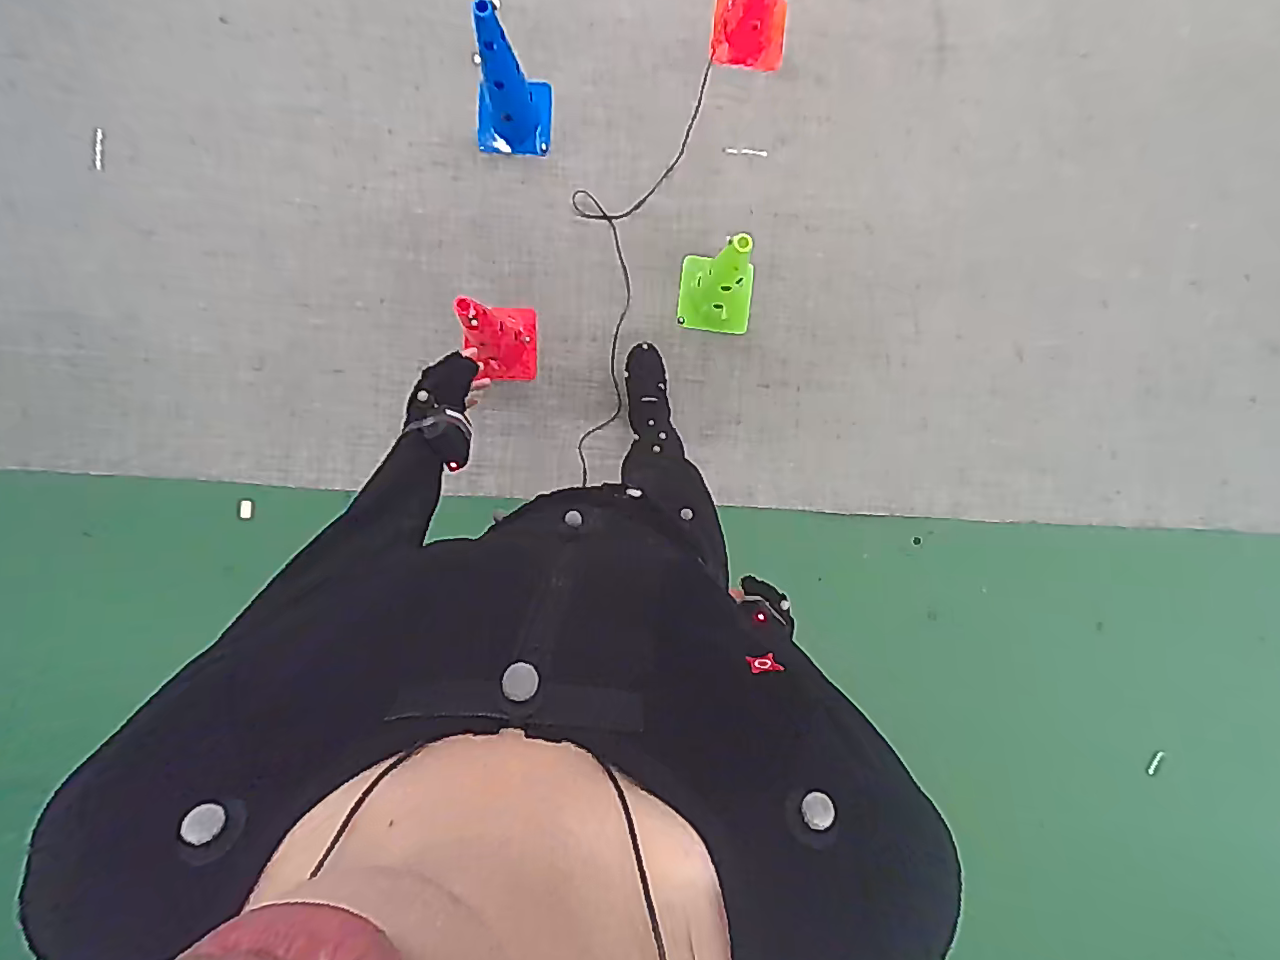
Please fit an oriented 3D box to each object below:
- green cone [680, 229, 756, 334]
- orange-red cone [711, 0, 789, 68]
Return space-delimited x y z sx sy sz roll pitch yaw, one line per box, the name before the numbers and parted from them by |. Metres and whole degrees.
green cone | 0.222 -0.510 1.327 0.200 0.368 0.202 5 90 -2
orange-red cone | 0.305 -1.237 1.318 0.198 0.360 0.199 8 92 -1
